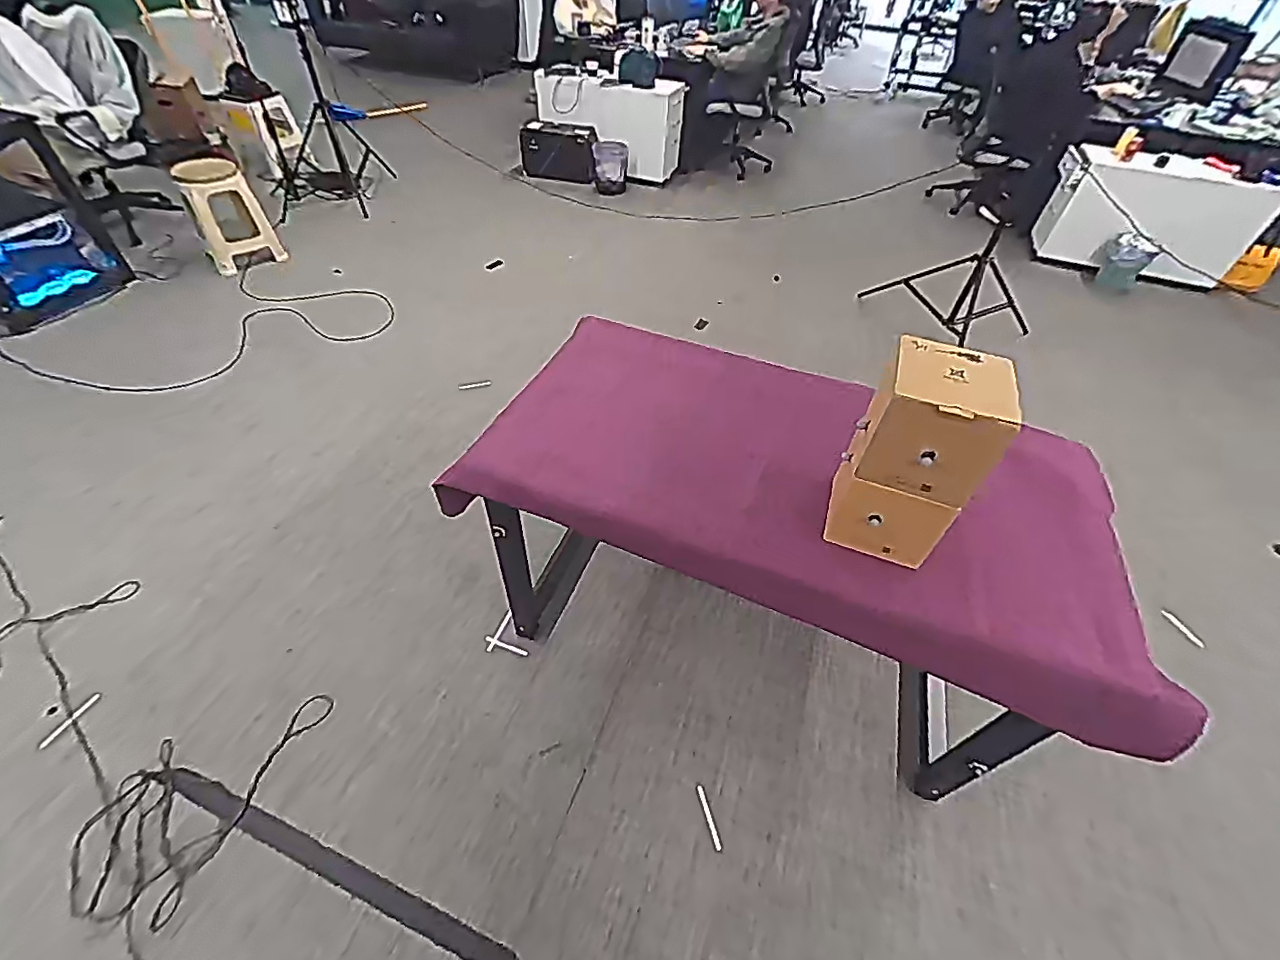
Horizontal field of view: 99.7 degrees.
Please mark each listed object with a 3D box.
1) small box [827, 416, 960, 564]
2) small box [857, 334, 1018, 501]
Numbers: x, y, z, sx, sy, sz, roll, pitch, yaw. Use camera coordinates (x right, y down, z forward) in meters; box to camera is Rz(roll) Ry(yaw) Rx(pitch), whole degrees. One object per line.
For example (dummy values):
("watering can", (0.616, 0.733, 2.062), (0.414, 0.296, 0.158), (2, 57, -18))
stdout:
("small box", (0.442, 0.020, 0.958), (0.168, 0.176, 0.179), (17, 47, 12))
("small box", (0.453, -0.095, 0.842), (0.168, 0.176, 0.179), (18, 48, 13))
